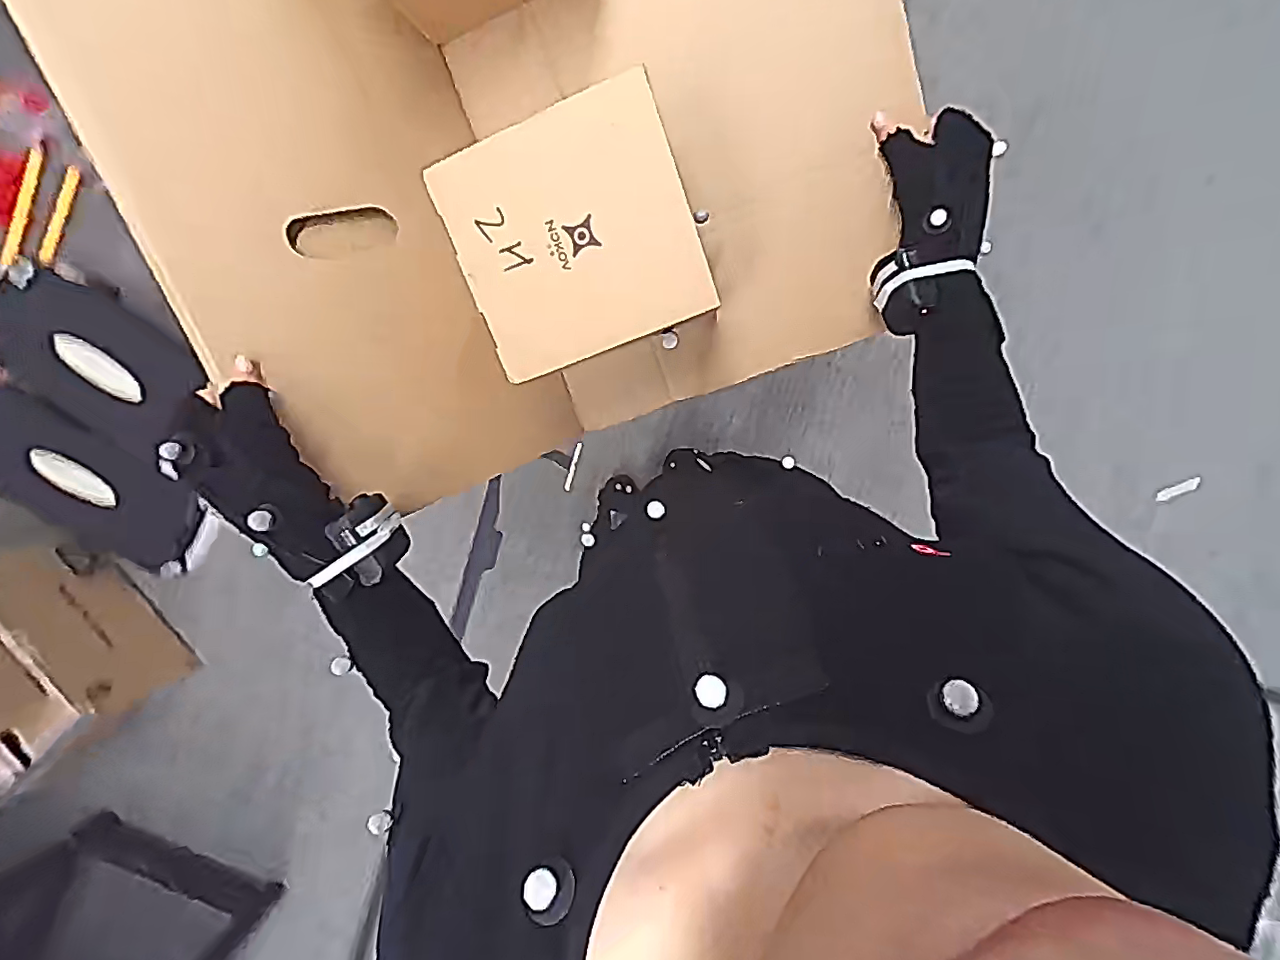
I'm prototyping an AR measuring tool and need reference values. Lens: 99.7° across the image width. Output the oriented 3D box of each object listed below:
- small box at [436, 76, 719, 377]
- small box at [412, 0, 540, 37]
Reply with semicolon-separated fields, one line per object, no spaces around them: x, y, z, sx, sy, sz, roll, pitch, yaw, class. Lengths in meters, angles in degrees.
-0.037;-0.202;0.478;0.179;0.176;0.168;-16;103;12;small box
-0.140;-0.493;0.410;0.179;0.176;0.168;-17;103;11;small box
